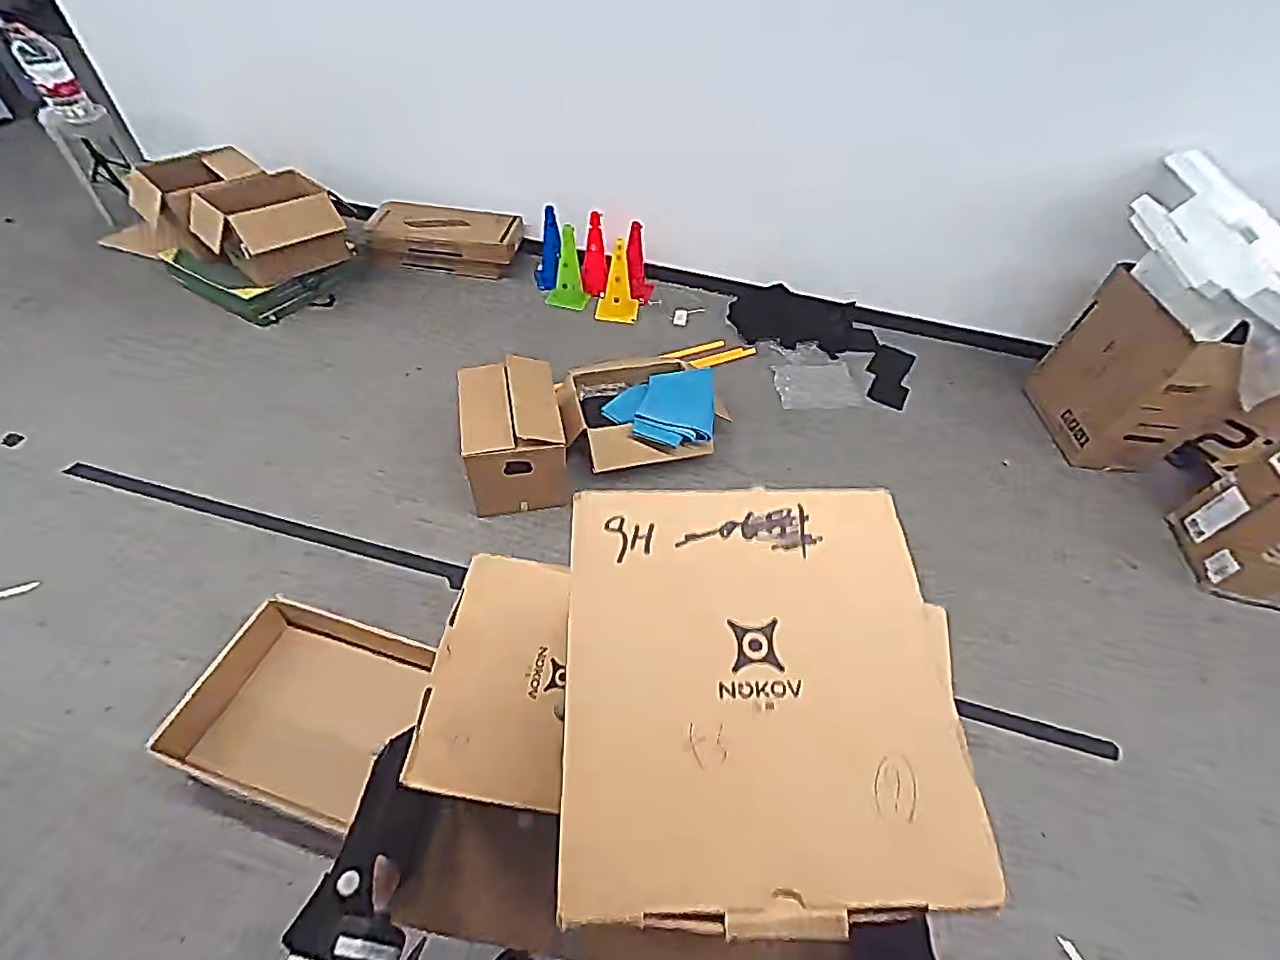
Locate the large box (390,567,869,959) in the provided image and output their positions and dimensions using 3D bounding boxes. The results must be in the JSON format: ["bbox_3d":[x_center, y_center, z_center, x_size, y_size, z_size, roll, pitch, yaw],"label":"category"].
[{"bbox_3d":[0.000,0.333,0.640,0.408,0.320,0.320,10,57,2],"label":"large box"}]

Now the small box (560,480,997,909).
[{"bbox_3d":[0.049,0.115,0.308,0.168,0.176,0.179,-1,61,-3],"label":"small box"}]
